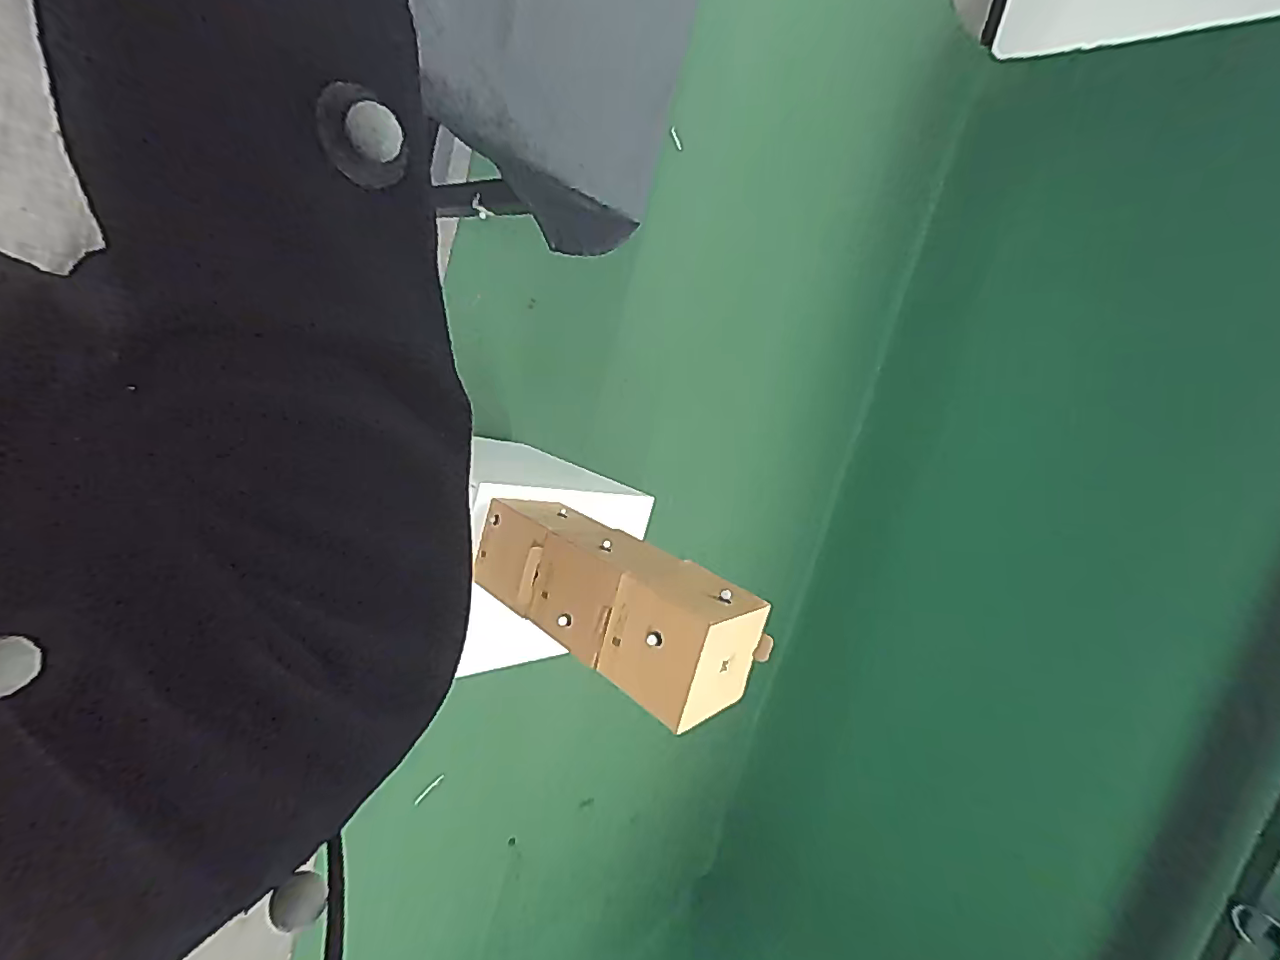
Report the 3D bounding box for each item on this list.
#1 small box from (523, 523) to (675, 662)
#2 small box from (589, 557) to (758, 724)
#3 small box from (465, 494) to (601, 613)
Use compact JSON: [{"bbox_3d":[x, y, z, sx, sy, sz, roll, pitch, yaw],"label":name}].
[{"bbox_3d":[-0.073,0.178,0.921,0.179,0.176,0.168,3,107,-52],"label":"small box"},{"bbox_3d":[0.048,0.230,0.827,0.179,0.176,0.168,1,108,-51],"label":"small box"},{"bbox_3d":[-0.199,0.130,1.013,0.179,0.176,0.168,7,102,-53],"label":"small box"}]
